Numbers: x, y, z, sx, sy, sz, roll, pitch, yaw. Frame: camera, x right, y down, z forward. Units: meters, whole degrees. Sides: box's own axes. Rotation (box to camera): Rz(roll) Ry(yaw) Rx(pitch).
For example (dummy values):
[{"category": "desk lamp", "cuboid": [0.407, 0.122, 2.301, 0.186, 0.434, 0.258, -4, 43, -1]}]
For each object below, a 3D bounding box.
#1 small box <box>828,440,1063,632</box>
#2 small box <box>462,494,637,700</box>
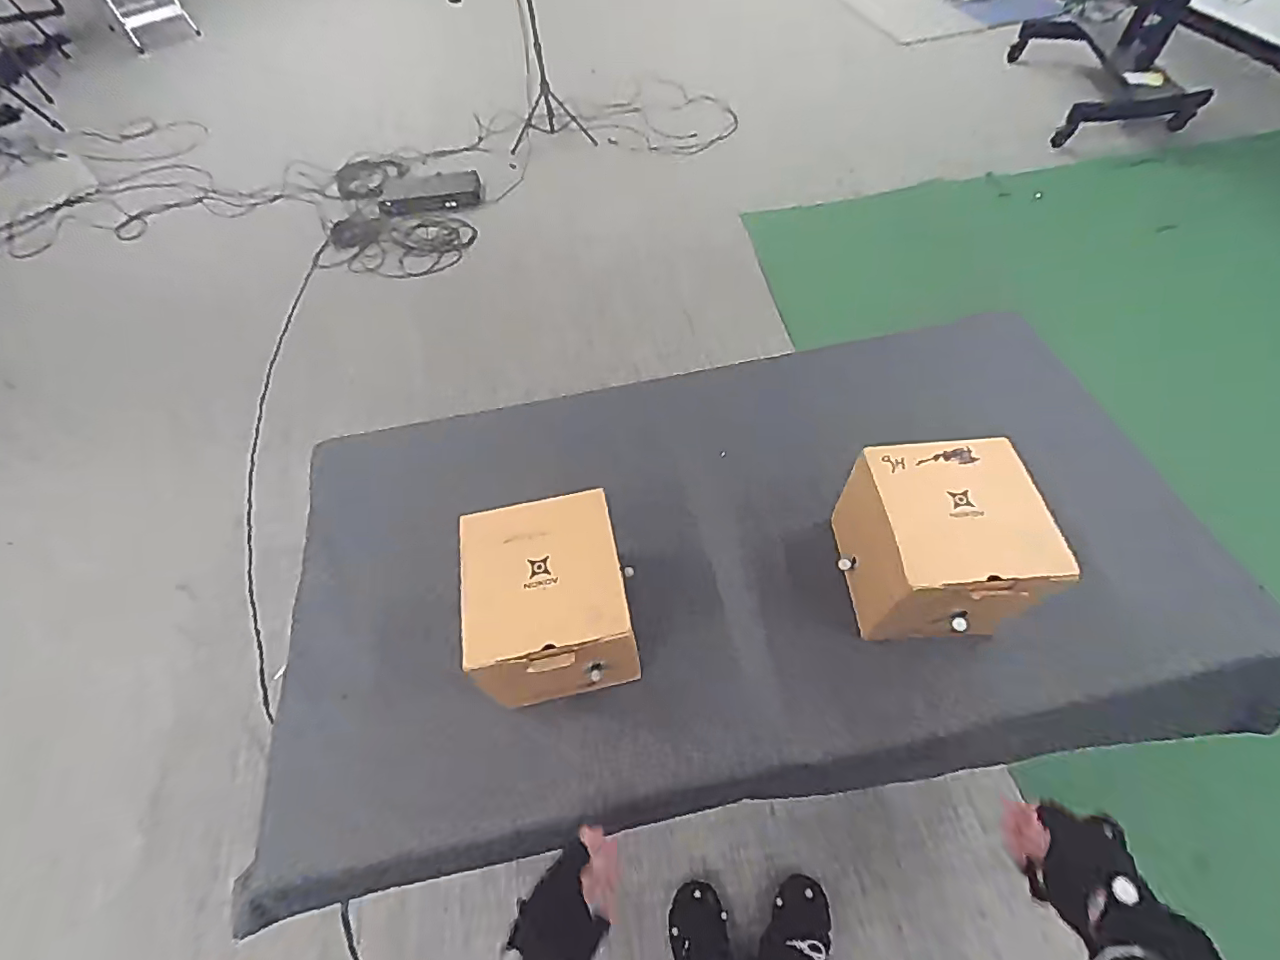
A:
[{"category": "small box", "cuboid": [0.341, 0.076, 0.648, 0.168, 0.176, 0.179, -4, 57, 2]}, {"category": "small box", "cuboid": [-0.102, 0.146, 0.639, 0.168, 0.176, 0.179, -12, 55, -5]}]
